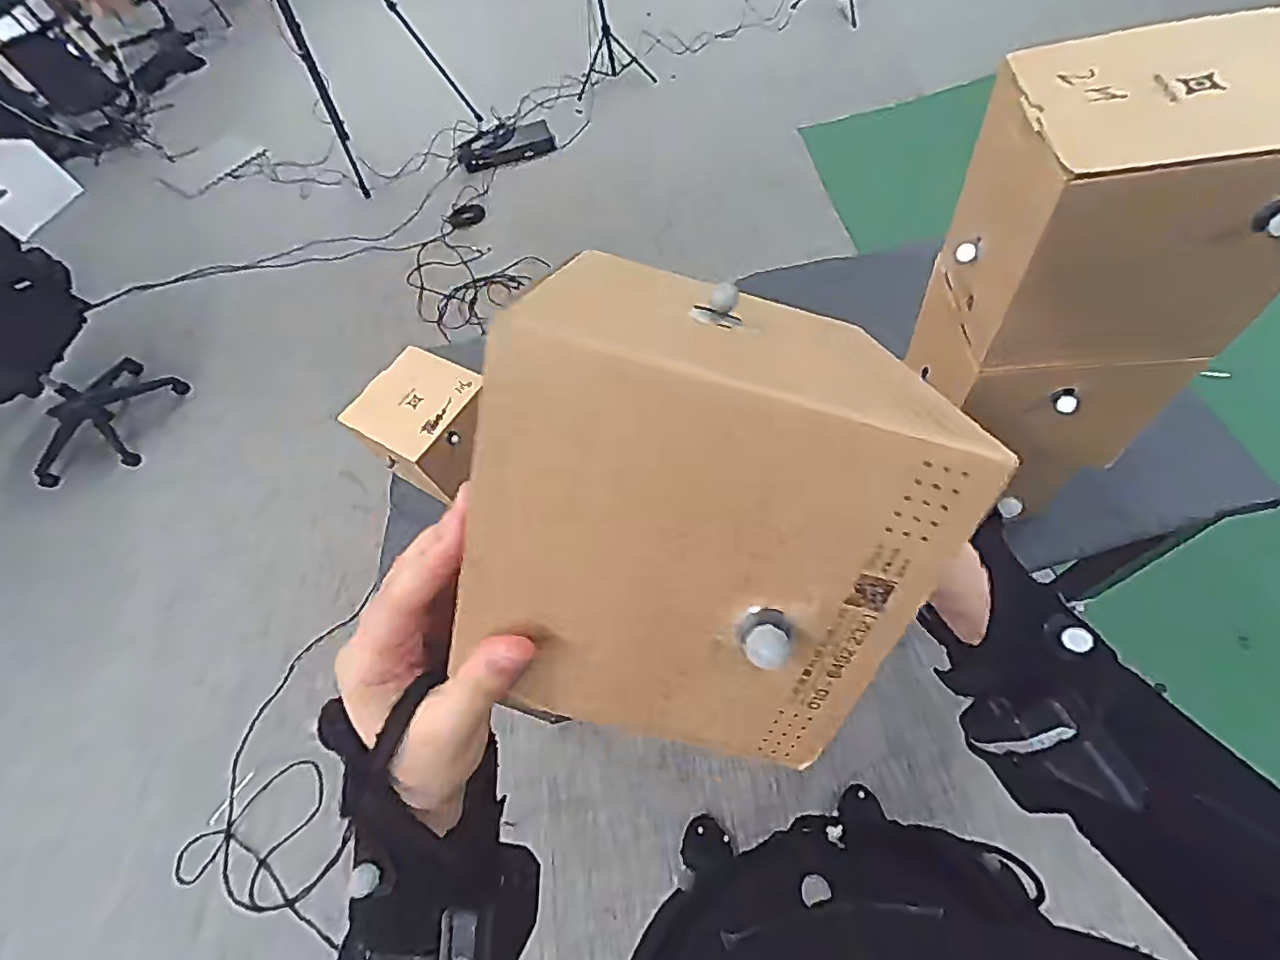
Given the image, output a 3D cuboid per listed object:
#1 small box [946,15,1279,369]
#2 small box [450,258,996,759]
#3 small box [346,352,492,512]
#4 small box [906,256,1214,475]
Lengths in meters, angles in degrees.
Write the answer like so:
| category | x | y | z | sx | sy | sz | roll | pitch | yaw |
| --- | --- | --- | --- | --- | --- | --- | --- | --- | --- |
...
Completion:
| category | x | y | z | sx | sy | sz | roll | pitch | yaw |
| --- | --- | --- | --- | --- | --- | --- | --- | --- | --- |
| small box | 0.363 | -0.204 | 0.415 | 0.179 | 0.176 | 0.168 | -1 | 58 | 14 |
| small box | 0.022 | 0.006 | 0.273 | 0.176 | 0.168 | 0.179 | 13 | 30 | -5 |
| small box | -0.320 | -0.072 | 0.878 | 0.179 | 0.176 | 0.168 | 25 | 68 | 24 |
| small box | 0.393 | -0.116 | 0.551 | 0.179 | 0.176 | 0.168 | -3 | 58 | 13 |
